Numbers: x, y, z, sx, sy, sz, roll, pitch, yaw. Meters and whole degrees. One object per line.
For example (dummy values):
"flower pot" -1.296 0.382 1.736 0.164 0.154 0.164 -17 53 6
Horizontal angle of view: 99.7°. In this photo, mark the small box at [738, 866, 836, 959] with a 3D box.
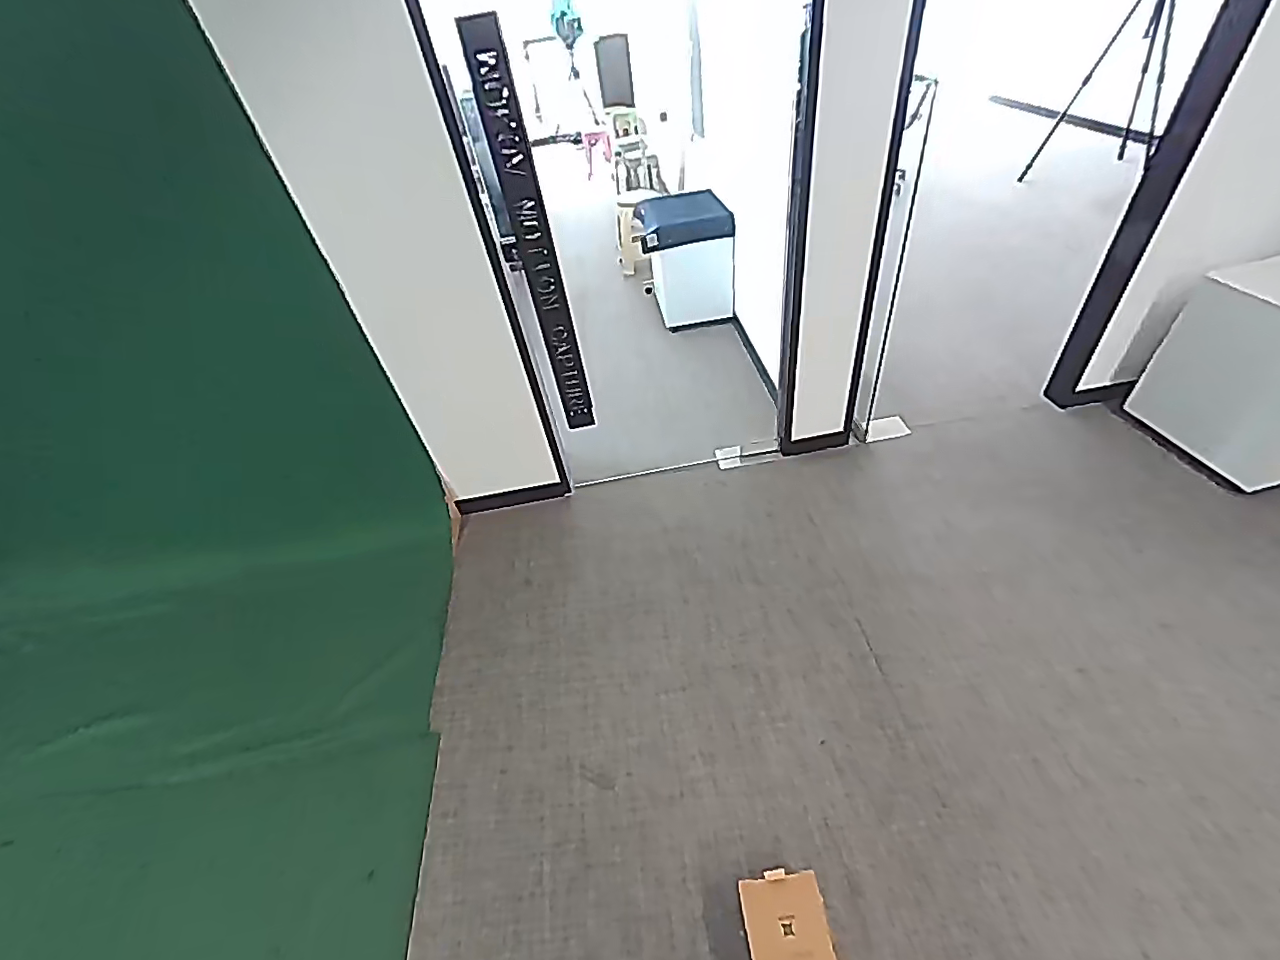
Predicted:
"small box" 0.303 0.943 1.137 0.168 0.176 0.179 -10 44 4
